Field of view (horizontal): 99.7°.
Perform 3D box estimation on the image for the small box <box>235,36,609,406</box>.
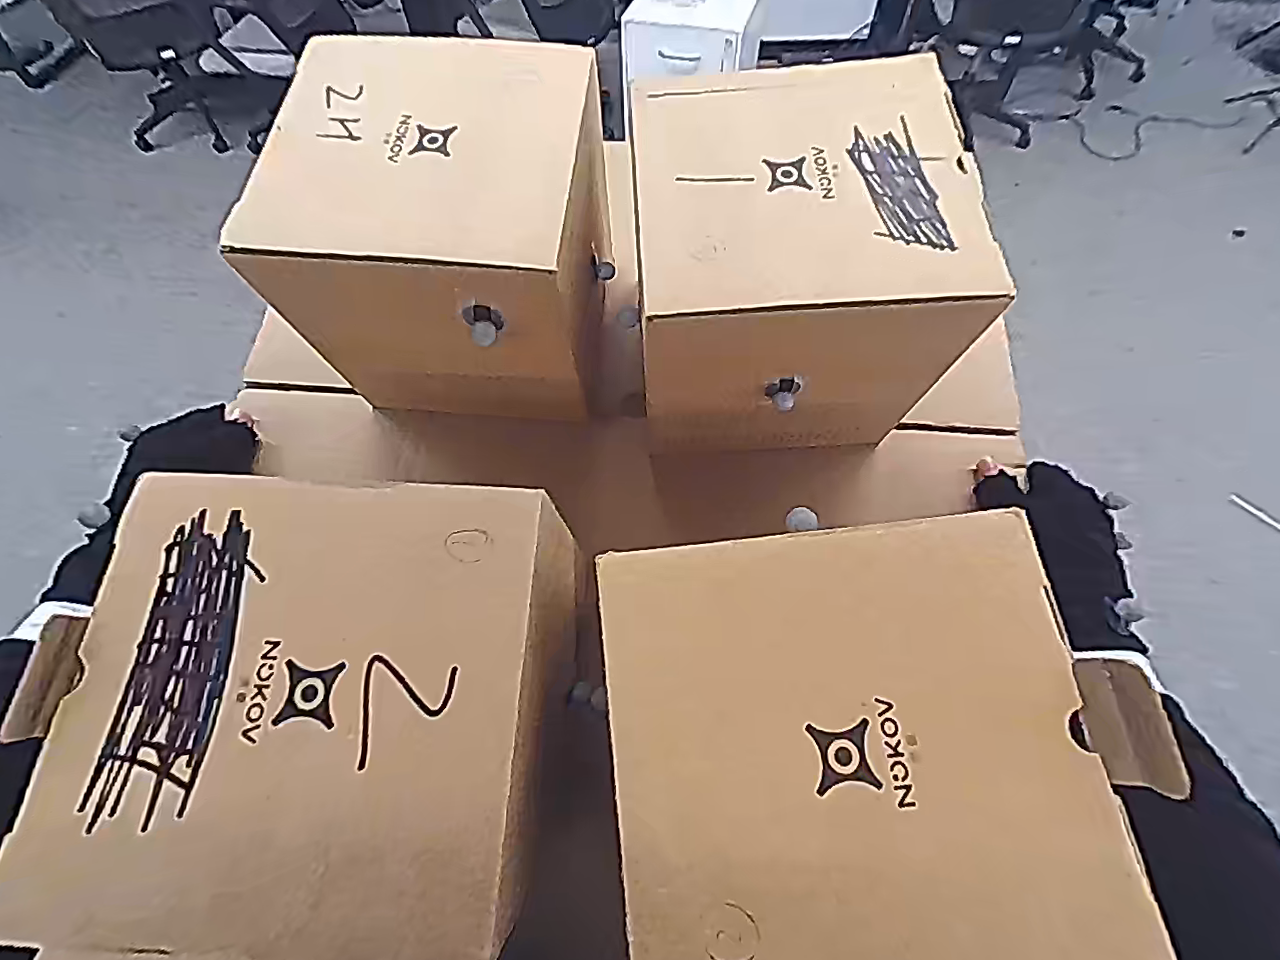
[{"bbox_3d":[-0.119,-0.165,0.384,0.179,0.176,0.168,5,69,3],"label":"small box"}]
